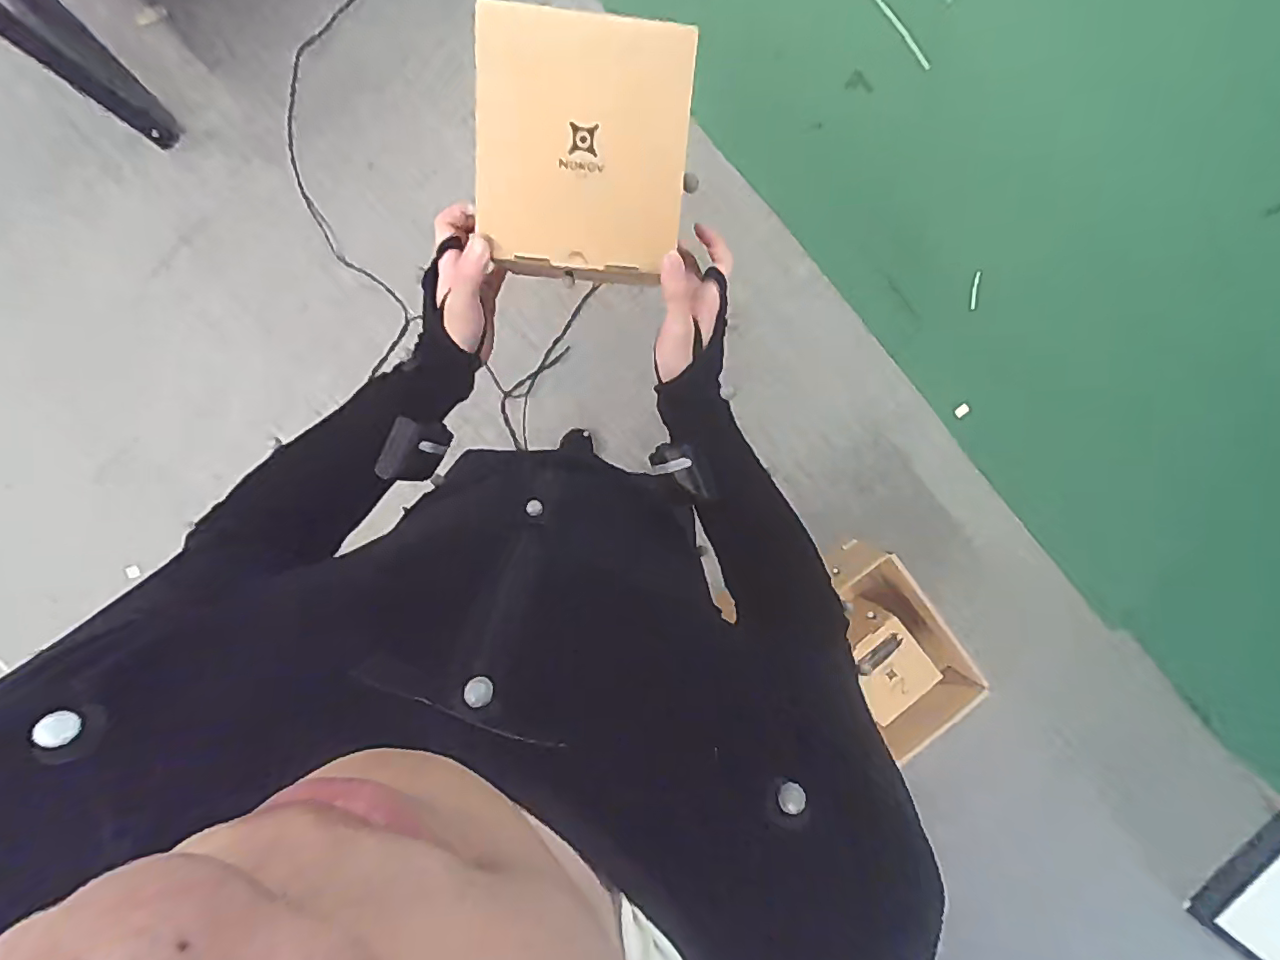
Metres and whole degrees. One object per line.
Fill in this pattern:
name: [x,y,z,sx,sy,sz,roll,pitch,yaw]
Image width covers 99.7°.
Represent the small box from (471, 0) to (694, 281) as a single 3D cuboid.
small box: [-0.054,-0.285,0.492,0.168,0.176,0.179,3,108,-5]
